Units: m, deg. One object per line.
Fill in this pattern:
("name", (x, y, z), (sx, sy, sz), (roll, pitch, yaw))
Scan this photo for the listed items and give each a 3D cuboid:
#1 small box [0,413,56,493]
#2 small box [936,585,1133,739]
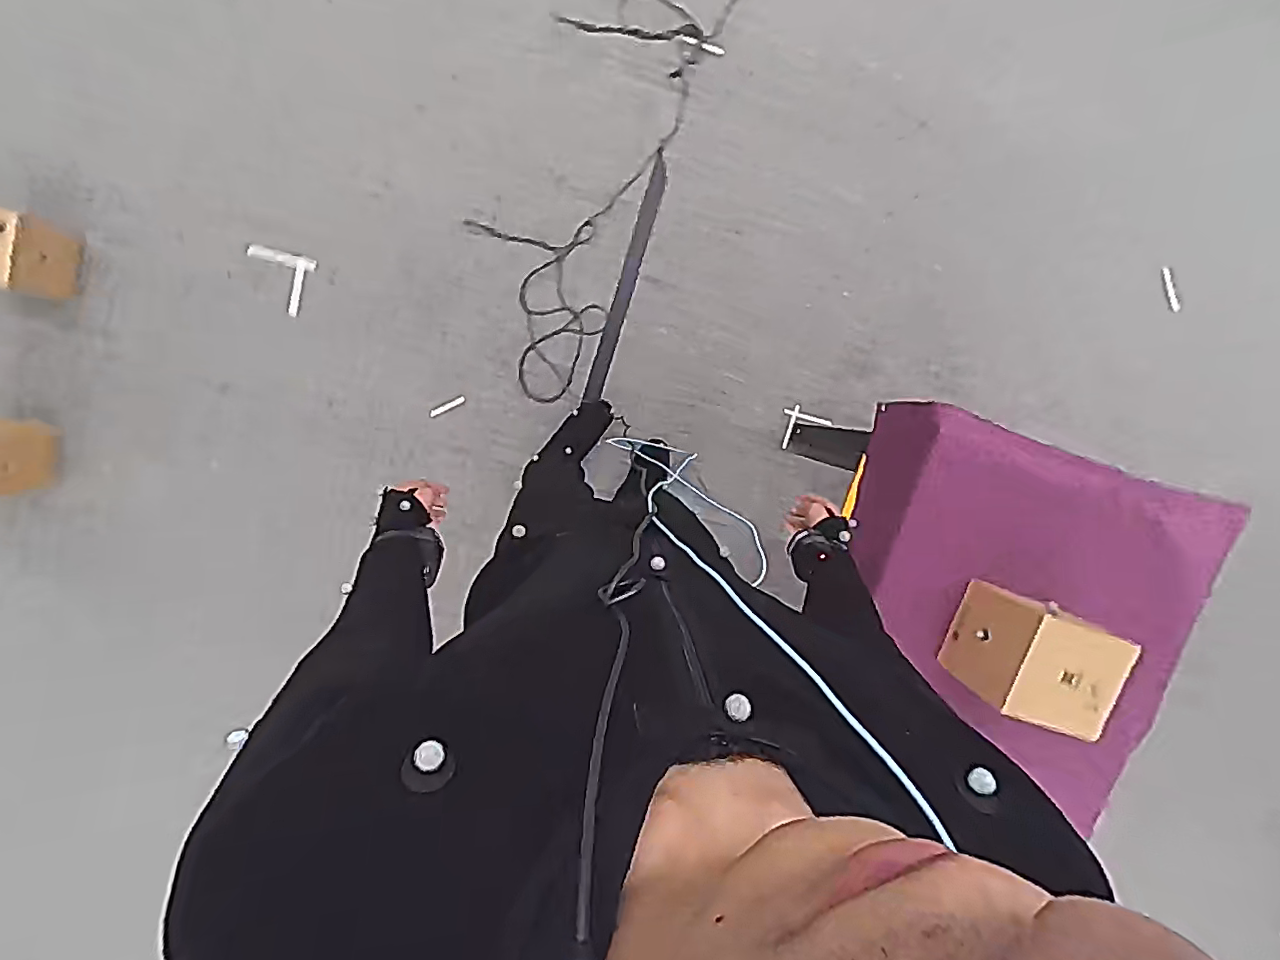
("small box", (-1.702, -0.076, 1.417), (0.168, 0.176, 0.179), (15, 98, -7))
("small box", (0.645, 0.292, 0.909), (0.179, 0.176, 0.168), (19, 97, -7))
